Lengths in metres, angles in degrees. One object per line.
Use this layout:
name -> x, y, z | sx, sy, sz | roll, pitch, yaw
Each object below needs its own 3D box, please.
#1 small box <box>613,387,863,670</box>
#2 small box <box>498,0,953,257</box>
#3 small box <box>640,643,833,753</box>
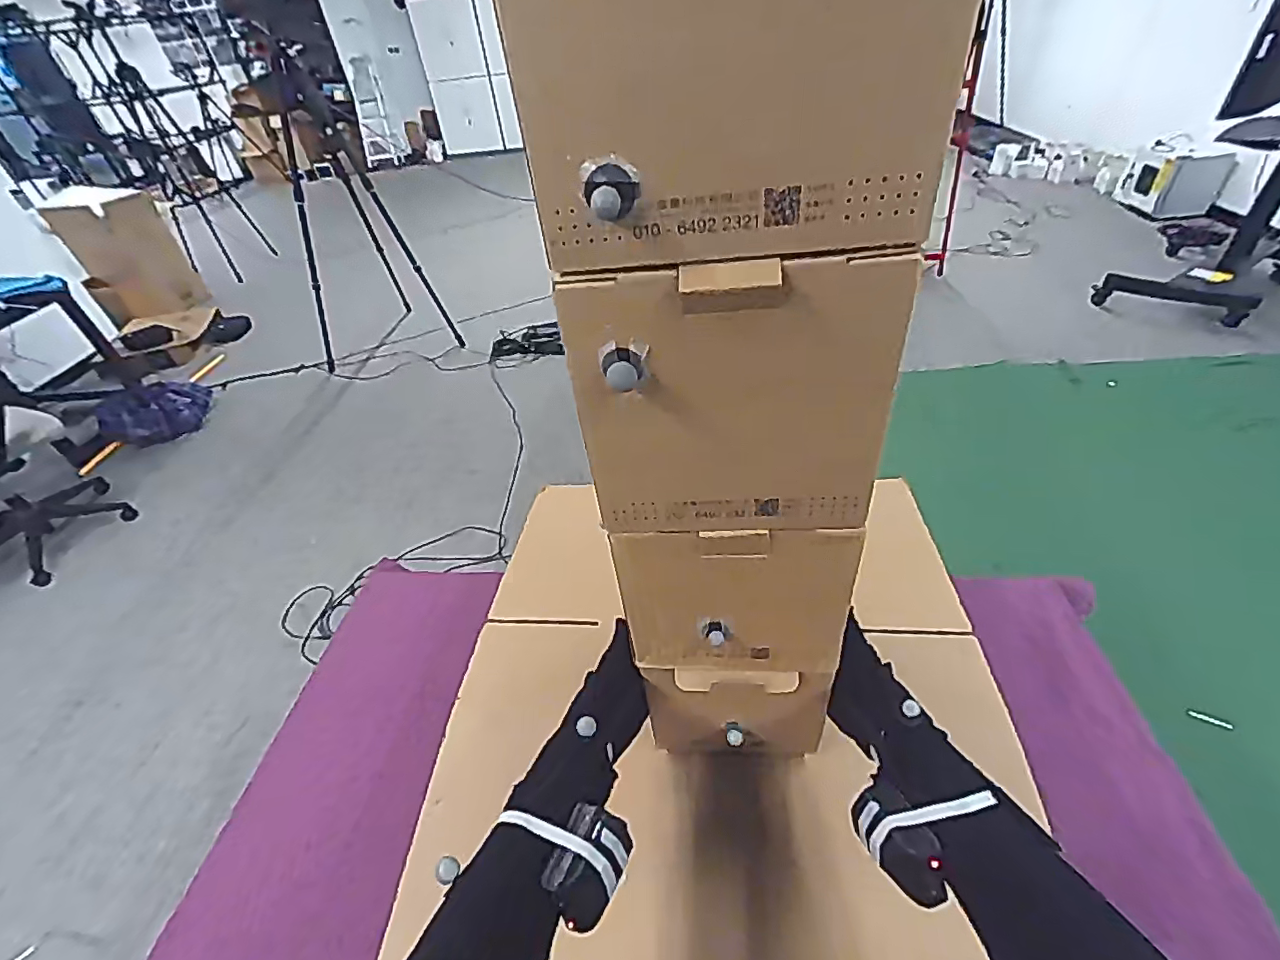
small box -> 0.078, 0.038, 0.466 | 0.168, 0.176, 0.179 | -2, 41, 8
small box -> 0.038, -0.214, 0.257 | 0.168, 0.176, 0.179 | -1, 39, 8
small box -> 0.097, 0.160, 0.572 | 0.168, 0.176, 0.179 | -2, 41, 9
